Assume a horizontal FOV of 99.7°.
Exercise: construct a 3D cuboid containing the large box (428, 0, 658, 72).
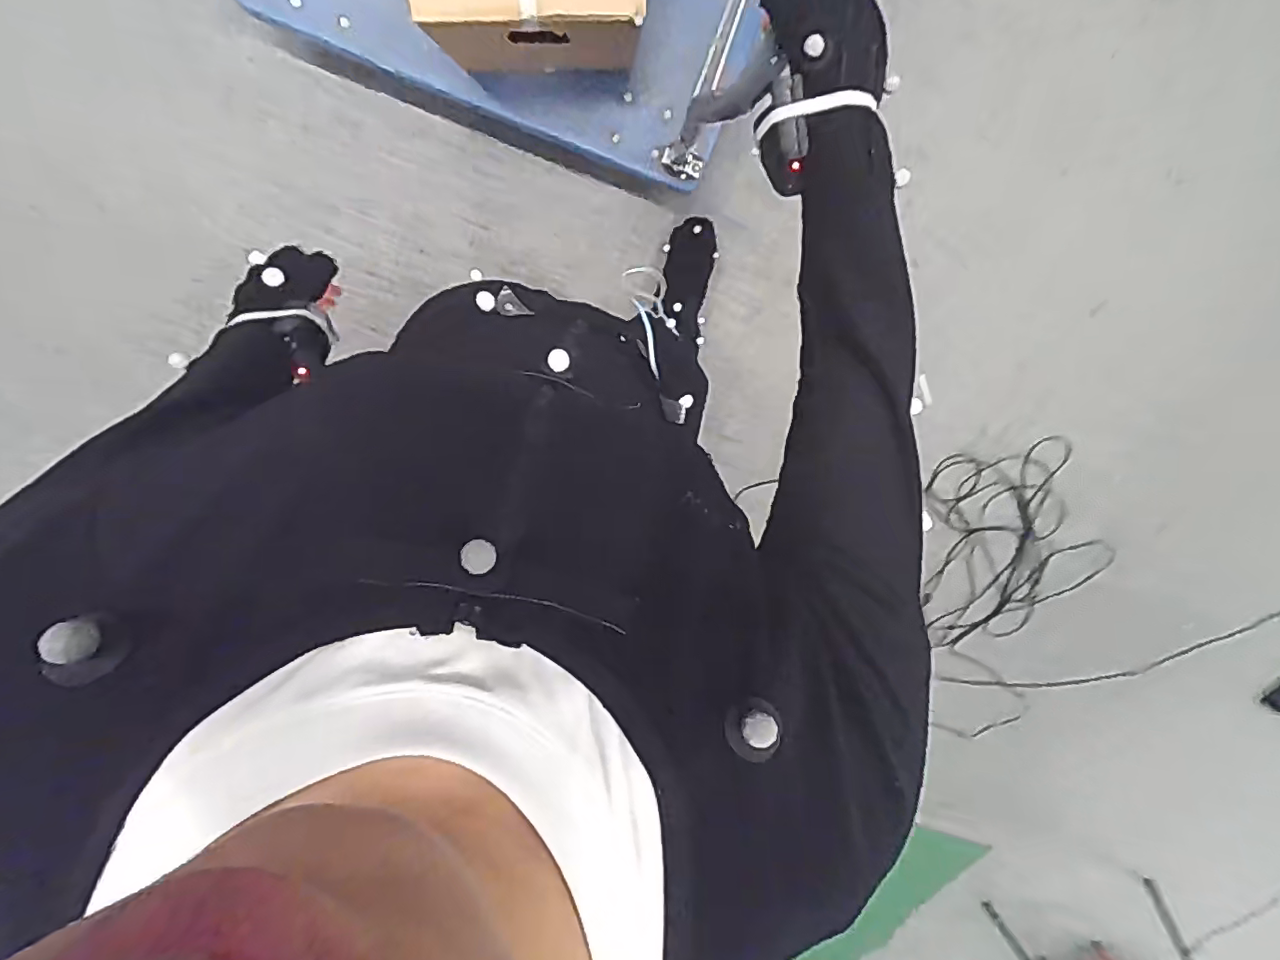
[{"bbox_3d":[-0.147,-0.863,0.772,0.320,0.320,0.408,-3,118,-1],"label":"large box"}]
